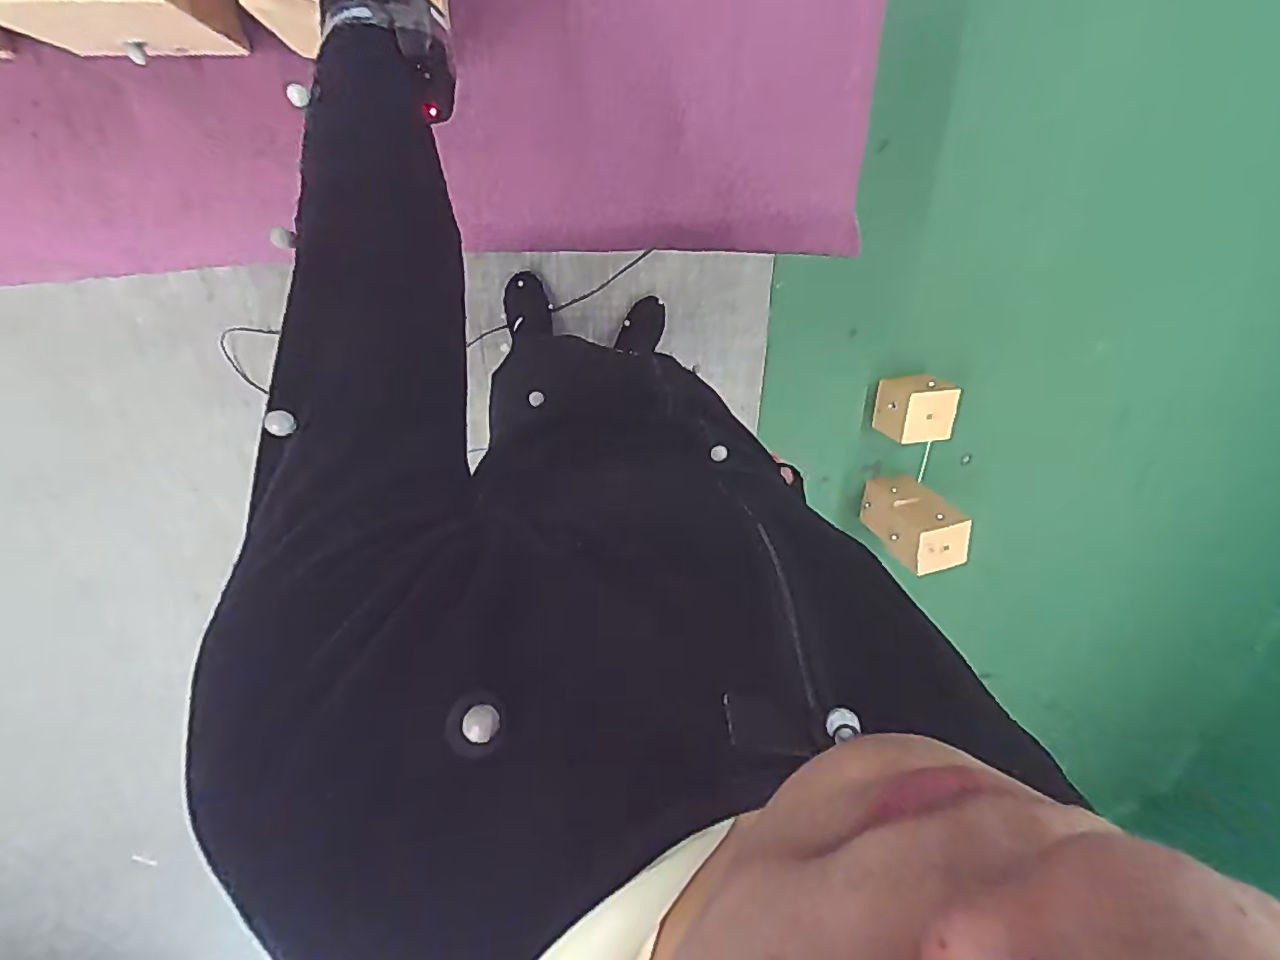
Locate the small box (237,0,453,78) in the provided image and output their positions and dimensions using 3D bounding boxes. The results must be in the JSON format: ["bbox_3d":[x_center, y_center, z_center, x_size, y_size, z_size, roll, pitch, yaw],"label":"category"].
[{"bbox_3d":[-0.277,-0.514,0.512,0.168,0.176,0.179,-4,116,-12],"label":"small box"}]

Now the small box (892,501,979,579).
[{"bbox_3d":[0.944,0.188,1.741,0.179,0.176,0.168,-14,117,-5],"label":"small box"}]

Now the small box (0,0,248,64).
[{"bbox_3d":[-0.496,-0.497,0.478,0.168,0.176,0.179,-7,118,-8],"label":"small box"}]

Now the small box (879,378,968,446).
[{"bbox_3d":[0.892,-0.220,1.721,0.179,0.176,0.168,-7,116,-9],"label":"small box"}]
